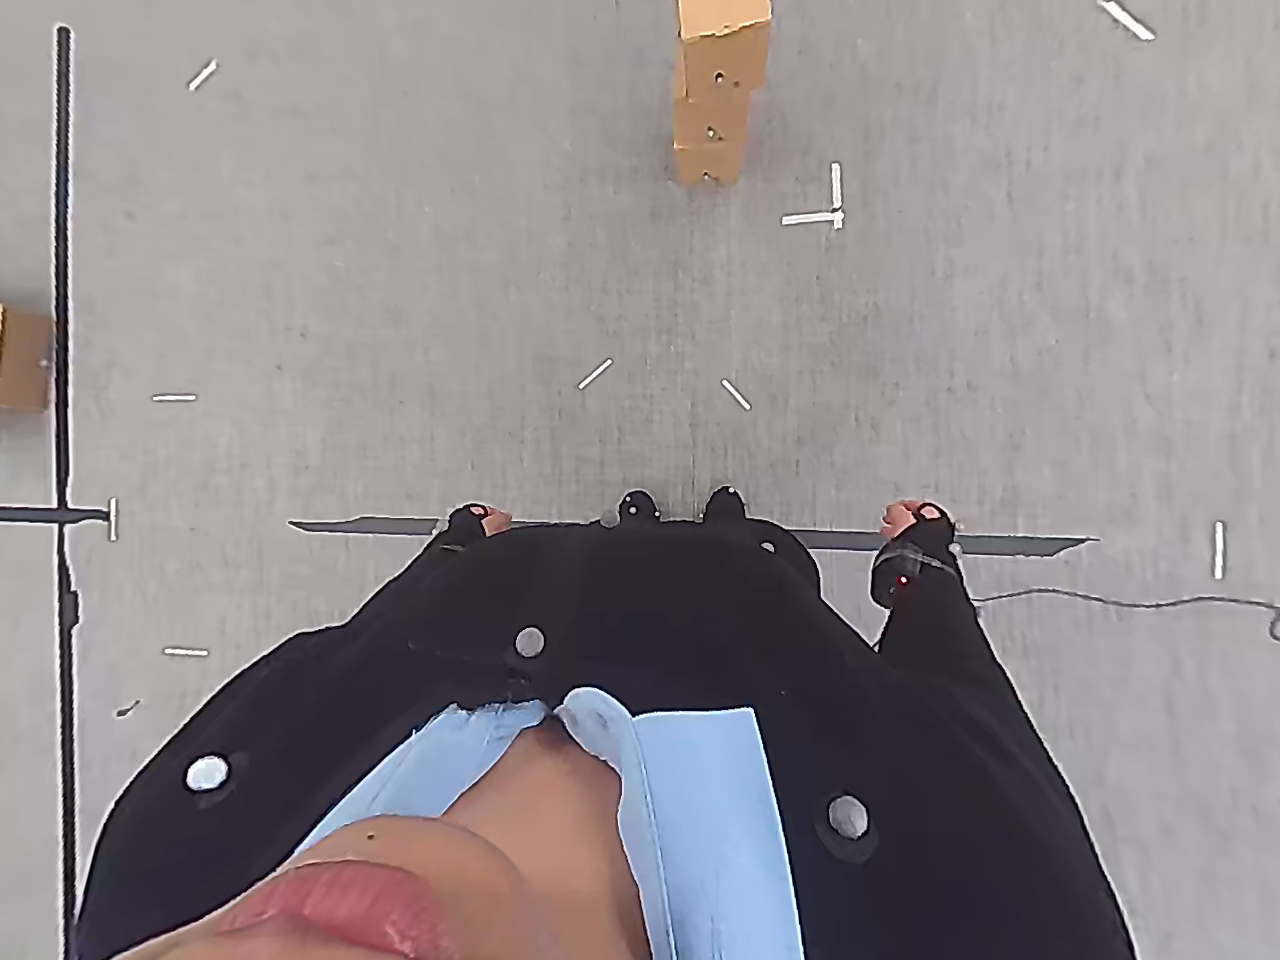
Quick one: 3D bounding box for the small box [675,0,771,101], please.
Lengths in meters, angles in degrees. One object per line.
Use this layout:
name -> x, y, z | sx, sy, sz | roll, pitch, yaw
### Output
small box -> 0.159, -0.905, 1.072 | 0.168, 0.176, 0.179 | -7, 89, 8

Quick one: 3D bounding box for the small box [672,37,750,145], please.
small box -> 0.167, -0.904, 1.236 | 0.168, 0.176, 0.179 | 4, 91, 9
